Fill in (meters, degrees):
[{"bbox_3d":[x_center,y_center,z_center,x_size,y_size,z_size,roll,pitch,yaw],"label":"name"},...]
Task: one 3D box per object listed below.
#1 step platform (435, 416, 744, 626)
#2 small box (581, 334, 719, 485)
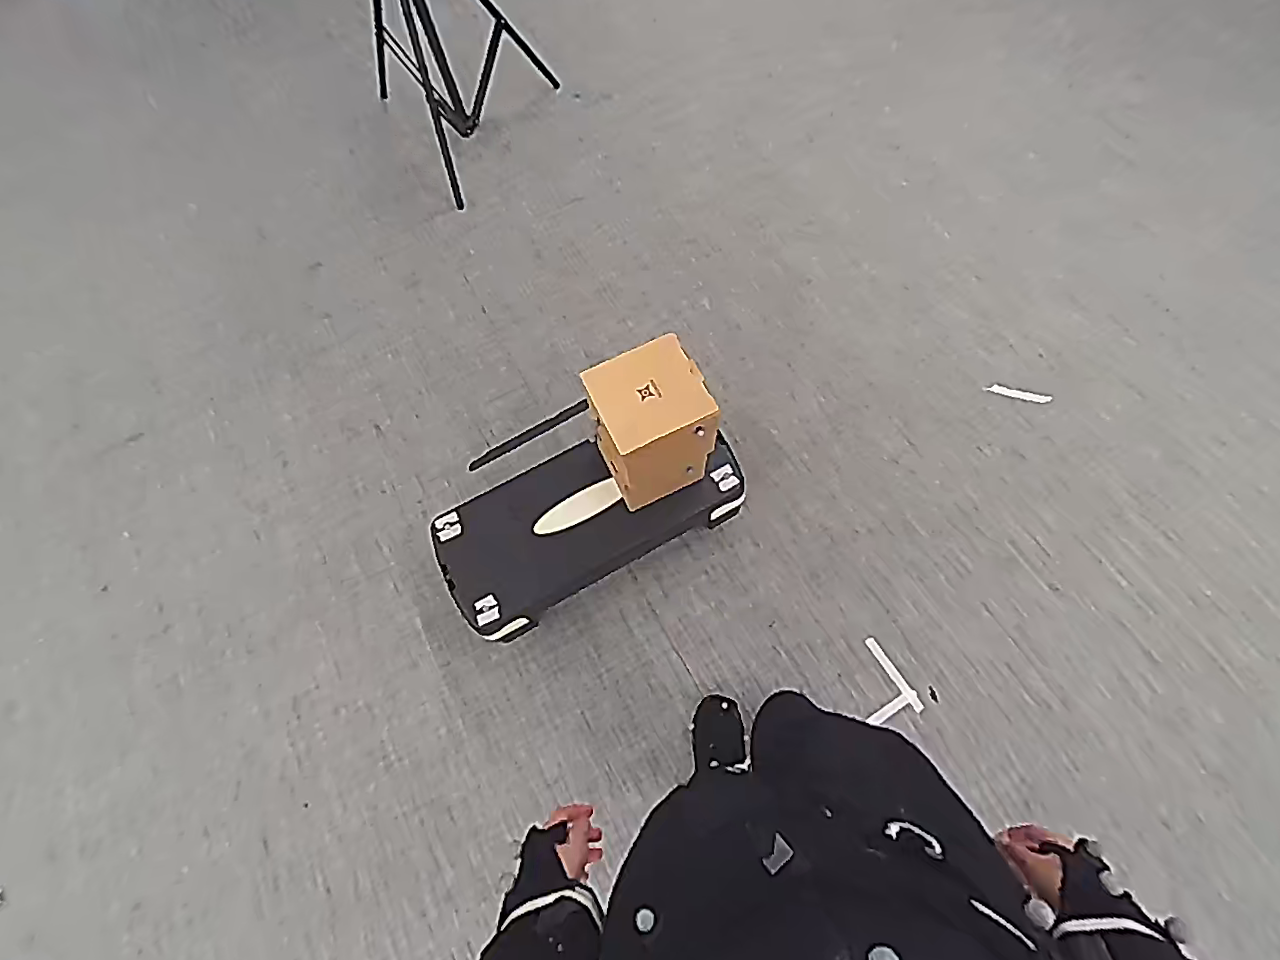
[{"bbox_3d":[-0.106,0.053,1.242,0.684,0.204,0.286,-29,71,-6],"label":"step platform"},{"bbox_3d":[0.019,-0.113,0.936,0.179,0.176,0.168,-25,71,-7],"label":"small box"}]
